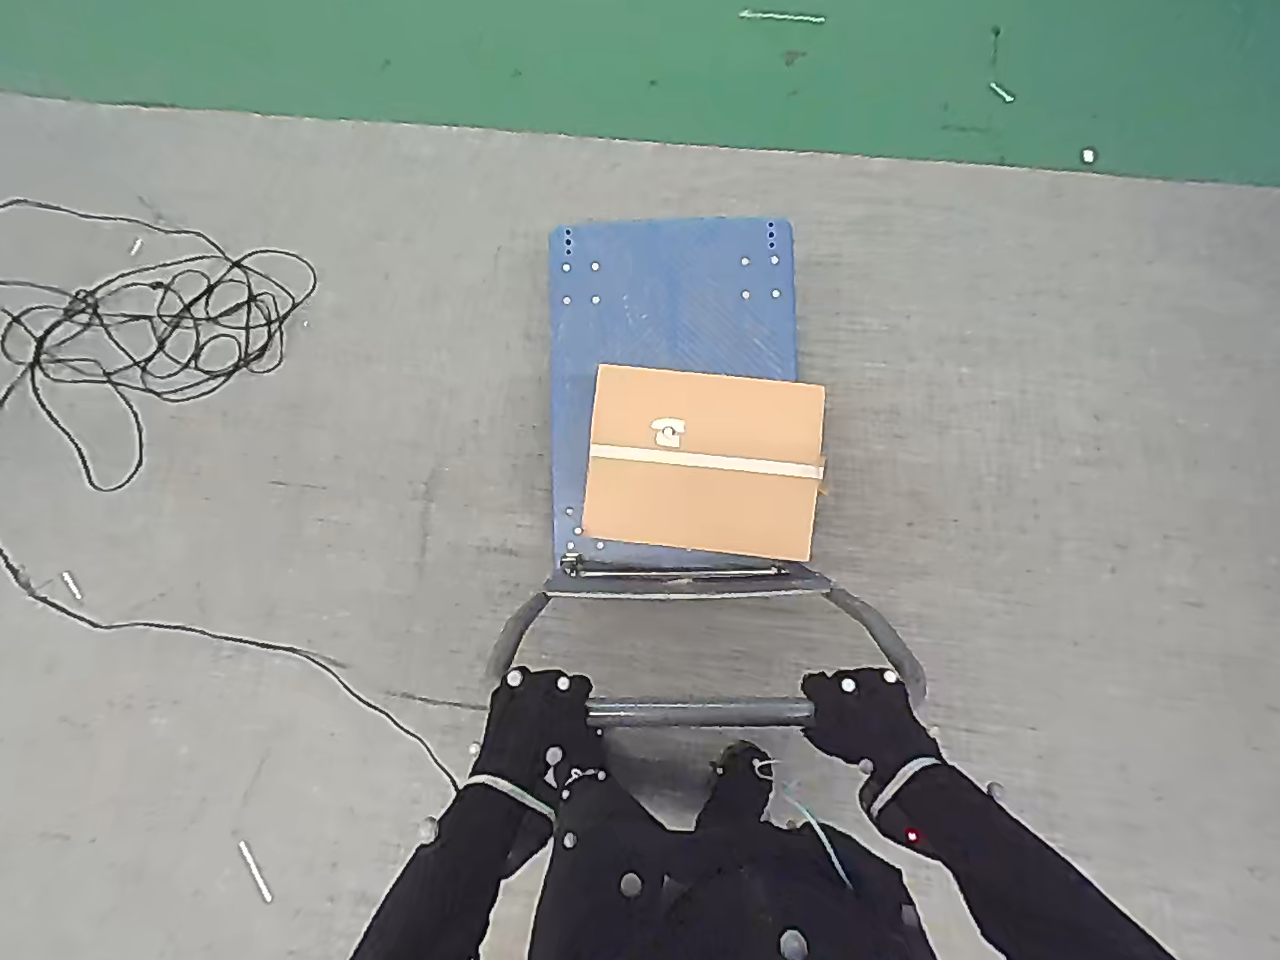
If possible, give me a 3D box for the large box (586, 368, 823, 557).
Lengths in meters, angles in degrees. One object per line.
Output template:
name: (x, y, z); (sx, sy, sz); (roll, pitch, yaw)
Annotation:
large box: (0.123, -0.032, 1.099); (0.408, 0.320, 0.320); (5, 89, 4)
